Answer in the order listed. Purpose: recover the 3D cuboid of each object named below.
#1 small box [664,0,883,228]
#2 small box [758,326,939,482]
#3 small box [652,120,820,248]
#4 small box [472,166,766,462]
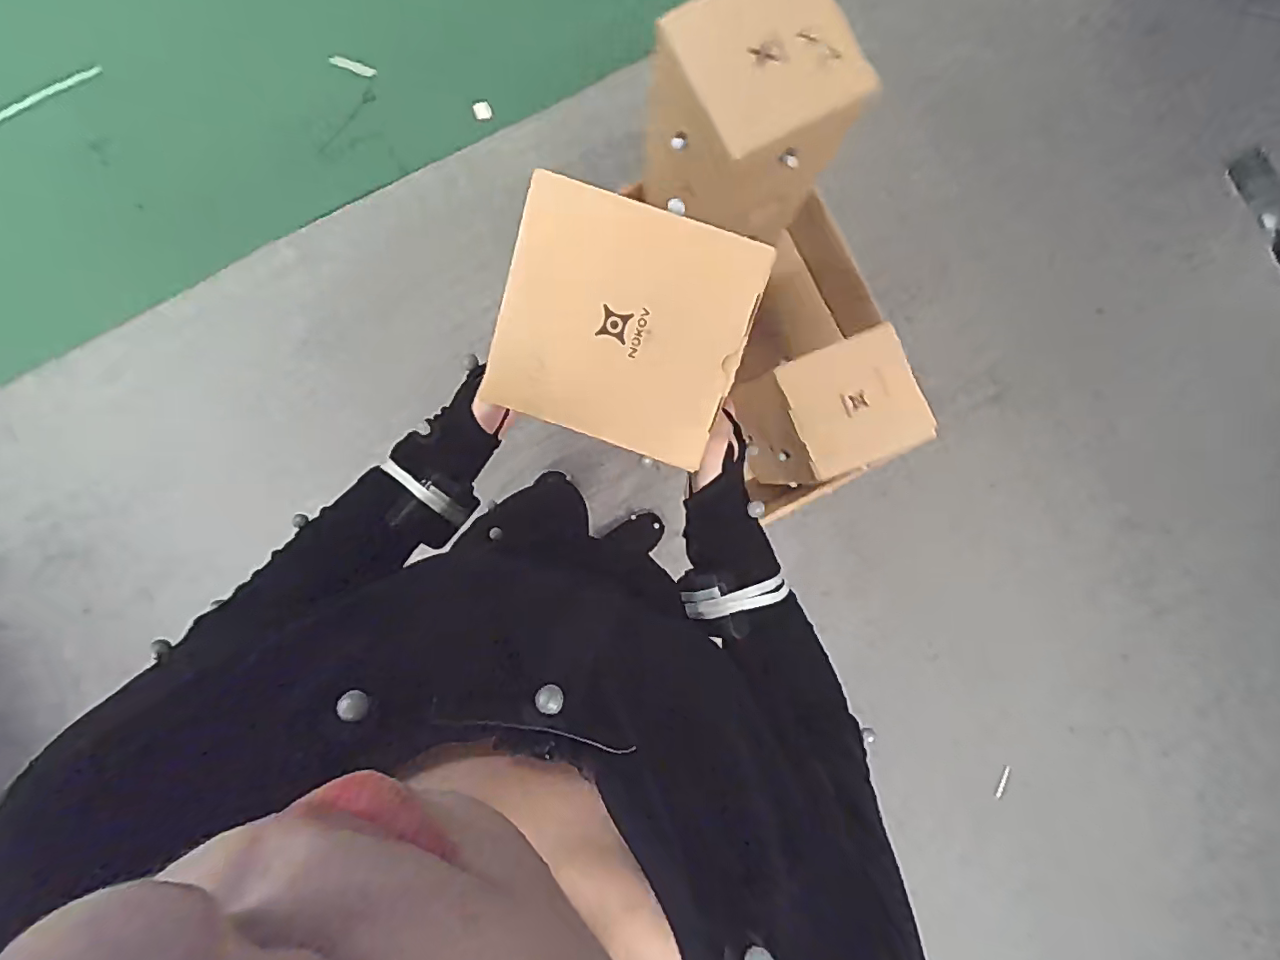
[{"bbox_3d":[0.138,-0.431,0.632,0.179,0.176,0.168,-26,90,-2],"label":"small box"},{"bbox_3d":[0.286,-0.099,0.793,0.179,0.176,0.168,-21,90,-3],"label":"small box"},{"bbox_3d":[0.130,-0.430,0.797,0.168,0.176,0.179,-28,90,-2],"label":"small box"},{"bbox_3d":[-0.014,-0.131,0.461,0.179,0.176,0.168,18,105,0],"label":"small box"}]
